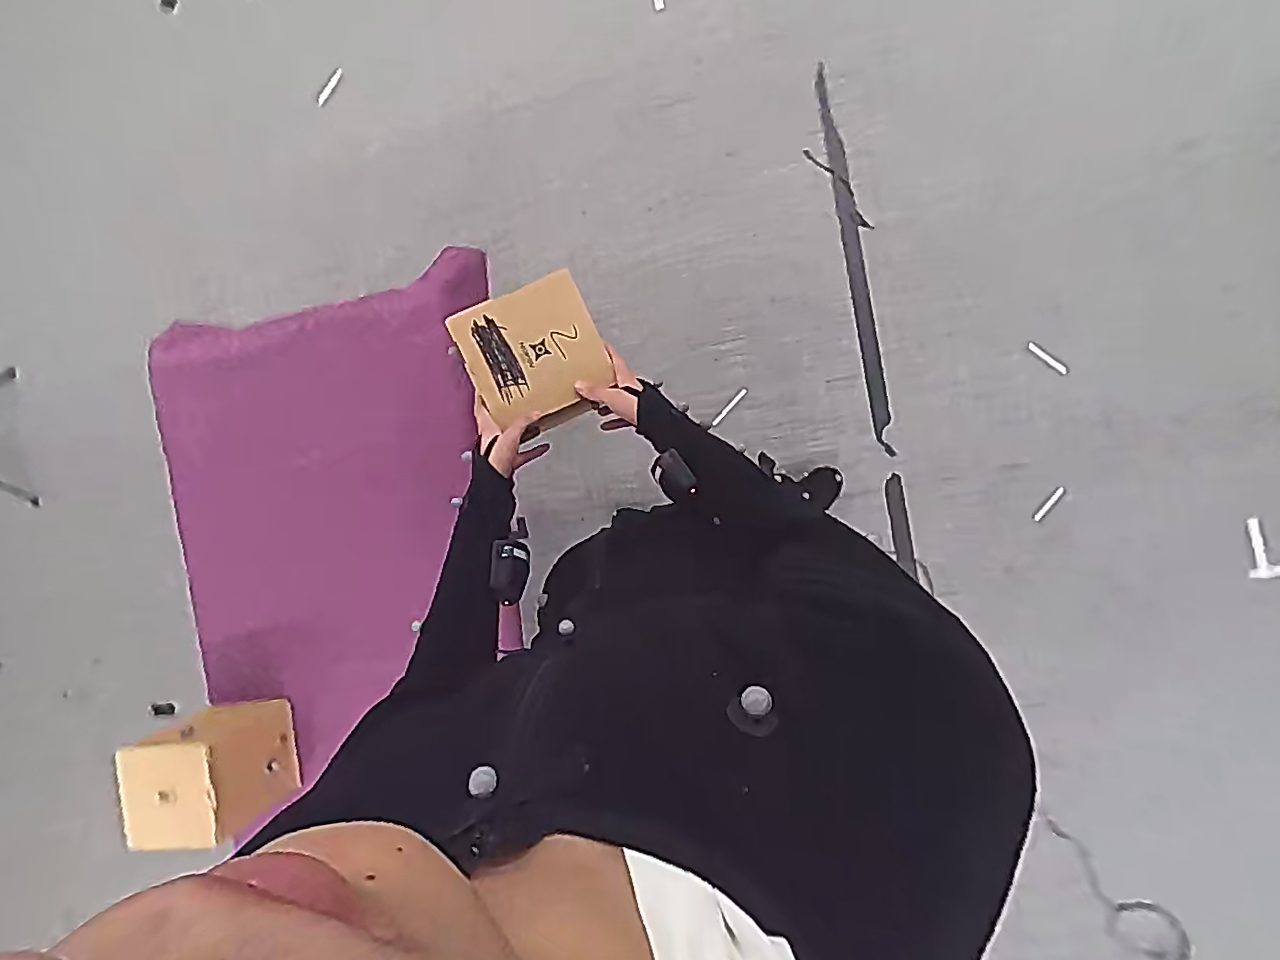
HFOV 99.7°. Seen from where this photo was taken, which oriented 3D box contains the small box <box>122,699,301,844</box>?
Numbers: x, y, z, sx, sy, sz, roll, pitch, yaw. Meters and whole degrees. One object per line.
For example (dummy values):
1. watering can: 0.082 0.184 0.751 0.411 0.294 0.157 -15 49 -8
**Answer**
1. small box: -0.739 0.501 0.946 0.179 0.176 0.168 -8 90 9
